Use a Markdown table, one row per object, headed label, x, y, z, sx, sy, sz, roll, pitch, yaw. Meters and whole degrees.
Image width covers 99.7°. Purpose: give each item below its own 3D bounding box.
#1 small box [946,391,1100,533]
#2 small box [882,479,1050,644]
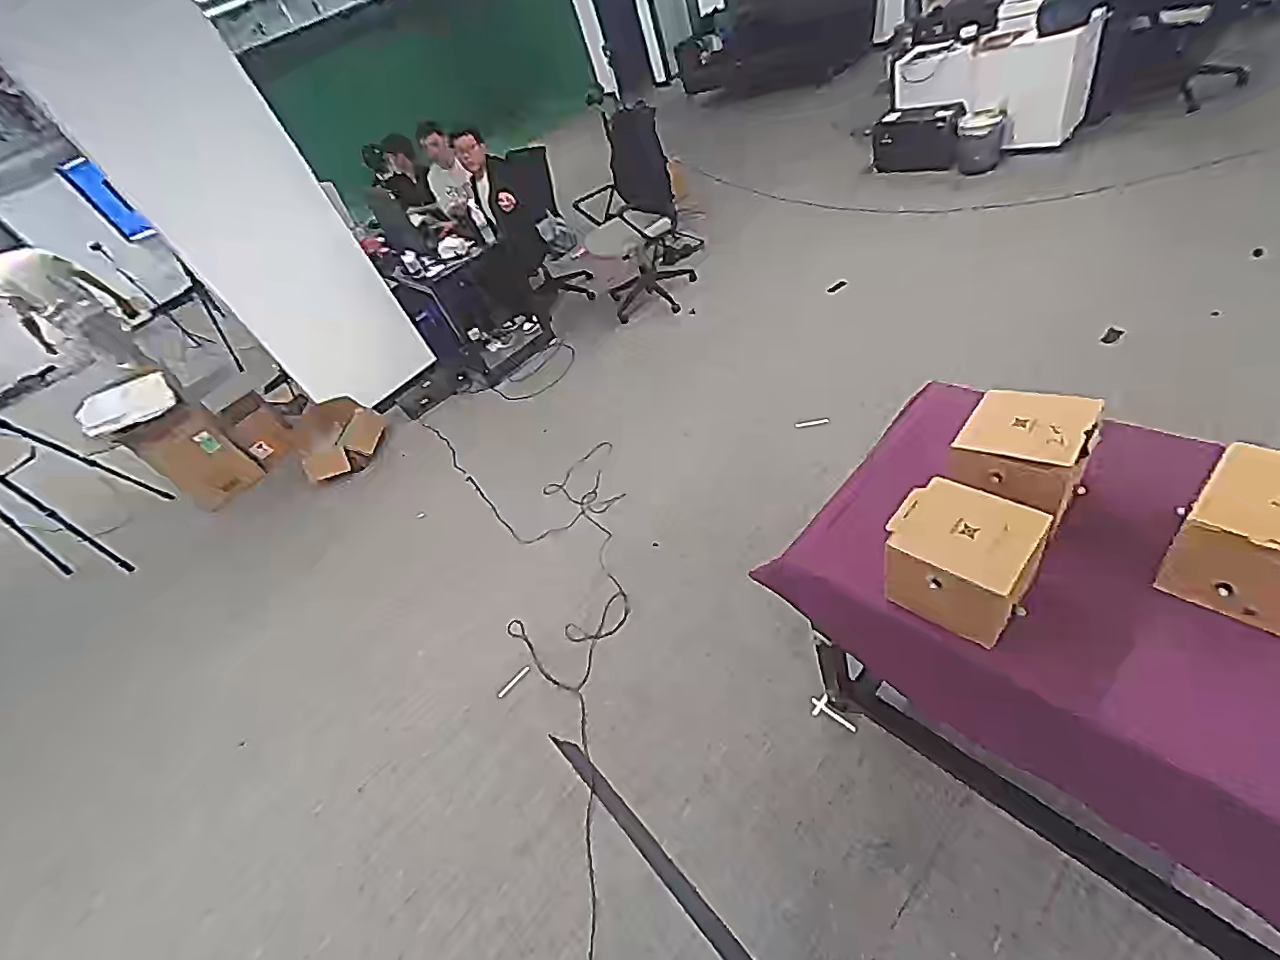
| label | x | y | z | sx | sy | sz | roll | pitch | yaw |
| --- | --- | --- | --- | --- | --- | --- | --- | --- | --- |
| small box | 0.672 | -0.030 | 0.970 | 0.179 | 0.176 | 0.168 | 25 | 62 | 40 |
| small box | 0.518 | 0.133 | 0.878 | 0.179 | 0.176 | 0.168 | 27 | 63 | 41 |
